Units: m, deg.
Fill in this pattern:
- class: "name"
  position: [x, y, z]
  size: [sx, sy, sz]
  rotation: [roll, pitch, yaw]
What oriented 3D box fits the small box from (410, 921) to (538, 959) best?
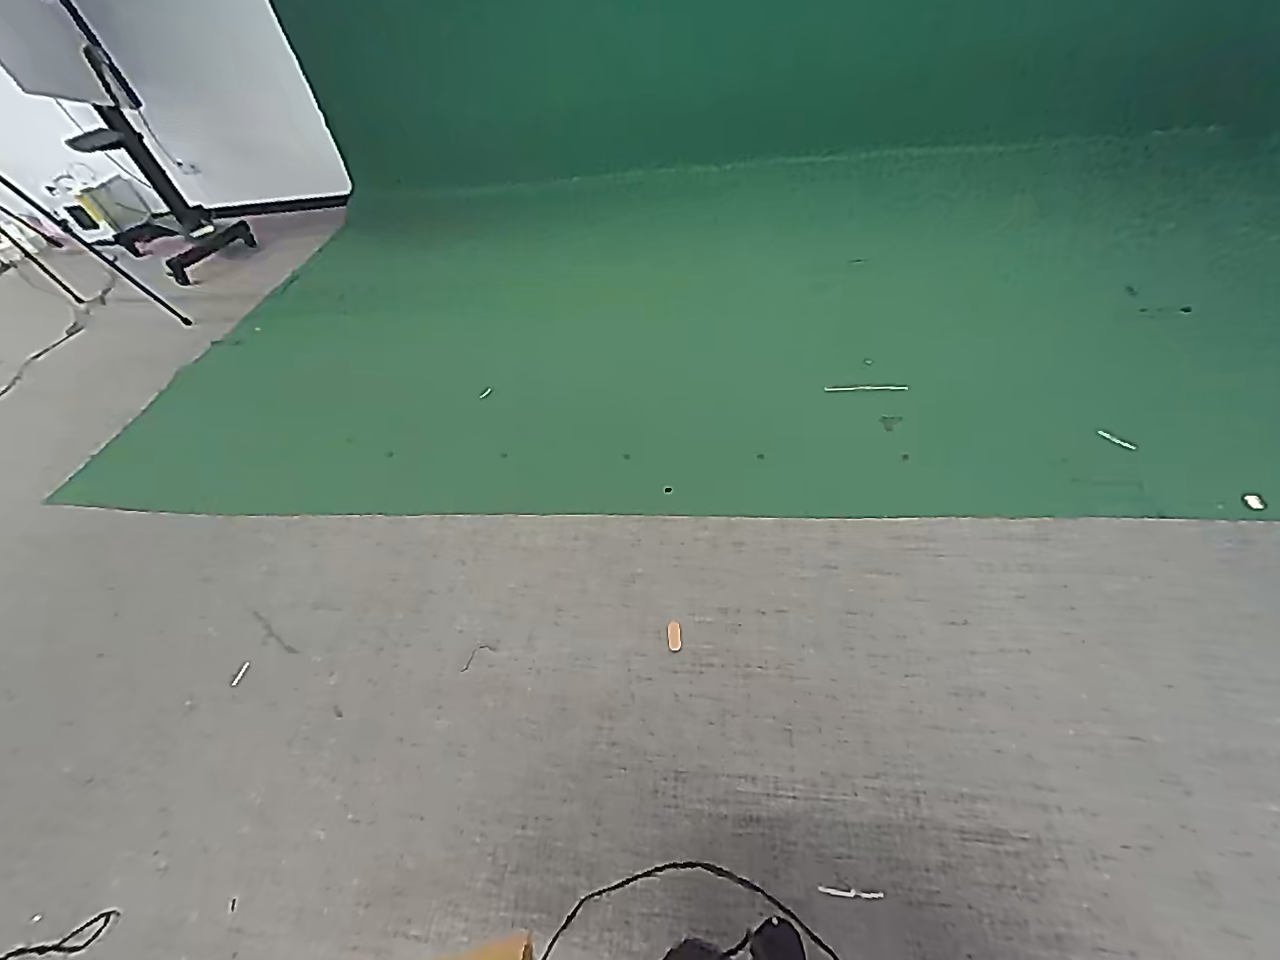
- class: "small box"
  position: [-0.204, 0.682, 0.637]
  size: [0.168, 0.179, 0.176]
  rotation: [-13, 79, -6]
